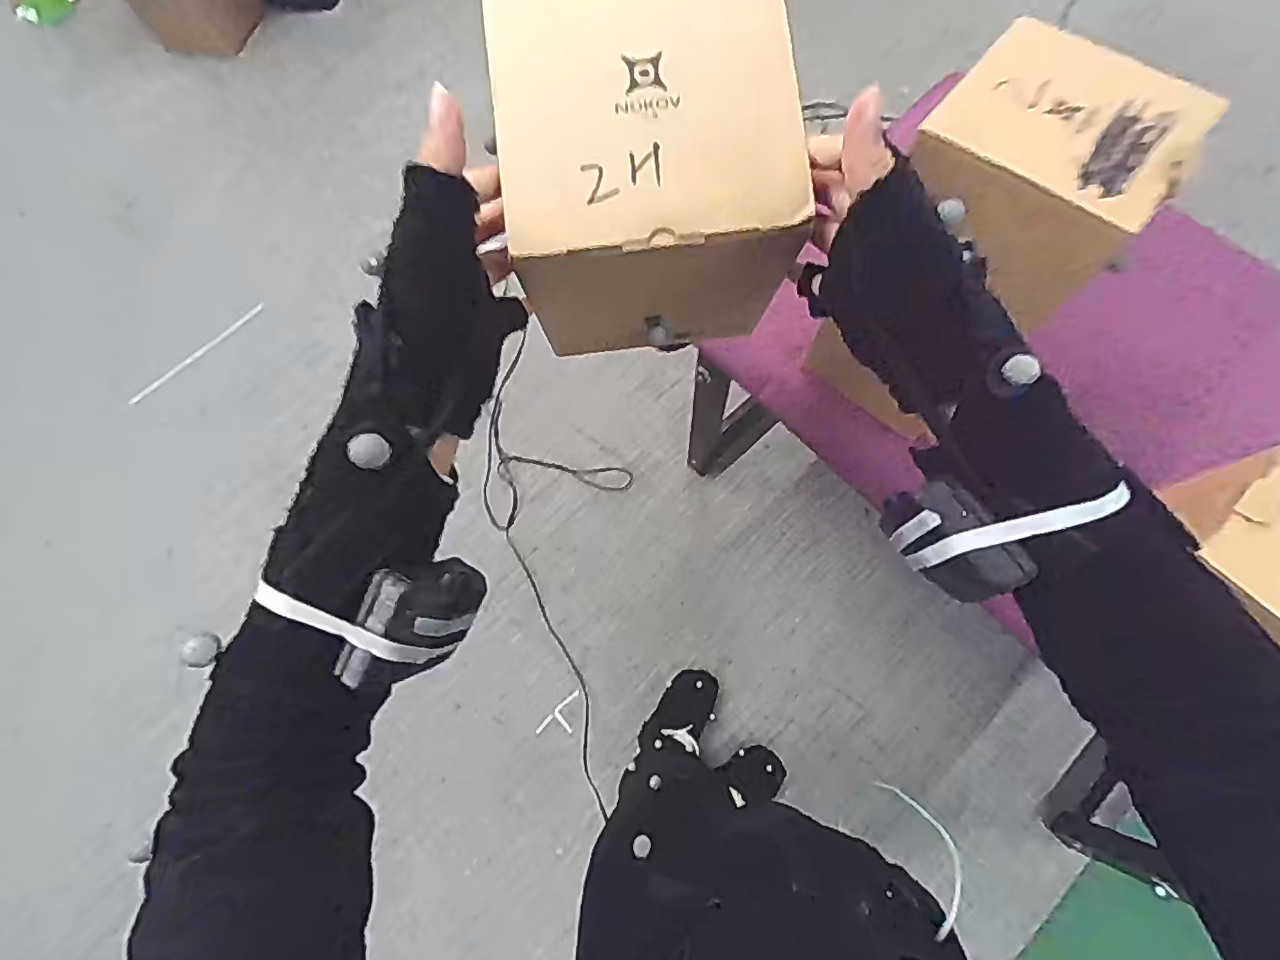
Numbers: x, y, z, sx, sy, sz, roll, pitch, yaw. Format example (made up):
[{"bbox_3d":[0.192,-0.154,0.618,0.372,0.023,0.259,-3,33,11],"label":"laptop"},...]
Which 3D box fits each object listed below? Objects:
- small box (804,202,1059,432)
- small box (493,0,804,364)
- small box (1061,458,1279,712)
[{"bbox_3d":[0.331,-0.180,0.651,0.179,0.176,0.168,40,77,14],"label":"small box"},{"bbox_3d":[0.002,-0.197,0.385,0.168,0.176,0.179,-6,86,-1],"label":"small box"},{"bbox_3d":[0.600,0.113,0.549,0.168,0.176,0.179,-39,74,-11],"label":"small box"}]
